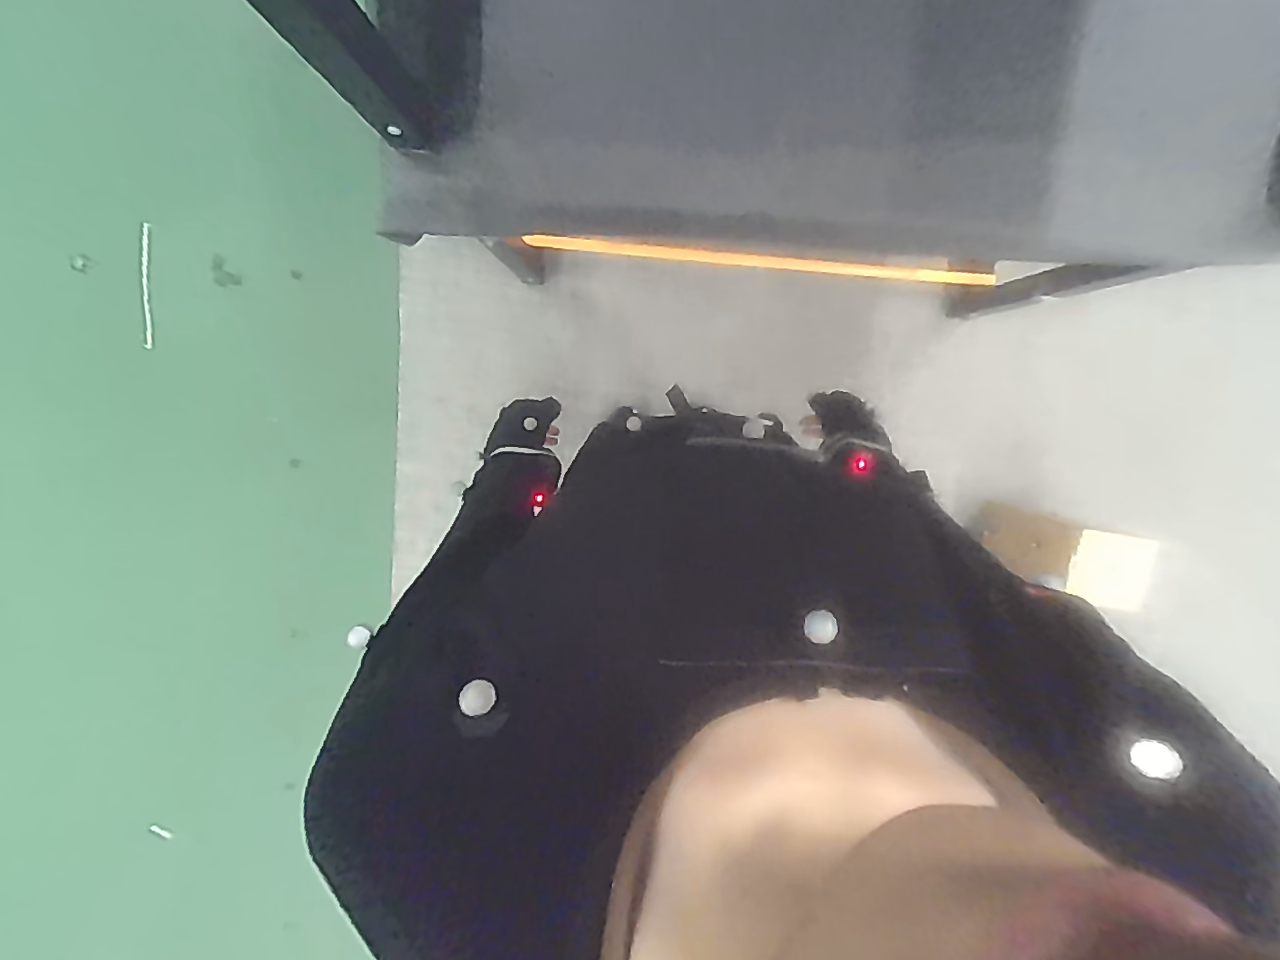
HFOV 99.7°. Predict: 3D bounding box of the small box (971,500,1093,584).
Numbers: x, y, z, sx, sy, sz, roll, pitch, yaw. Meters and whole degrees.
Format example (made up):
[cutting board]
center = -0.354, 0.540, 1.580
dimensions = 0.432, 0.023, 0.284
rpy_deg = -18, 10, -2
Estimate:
[small box]
center = 1.024, 0.157, 1.426
dimensions = 0.179, 0.176, 0.168
rpy_deg = 11, 98, -1
